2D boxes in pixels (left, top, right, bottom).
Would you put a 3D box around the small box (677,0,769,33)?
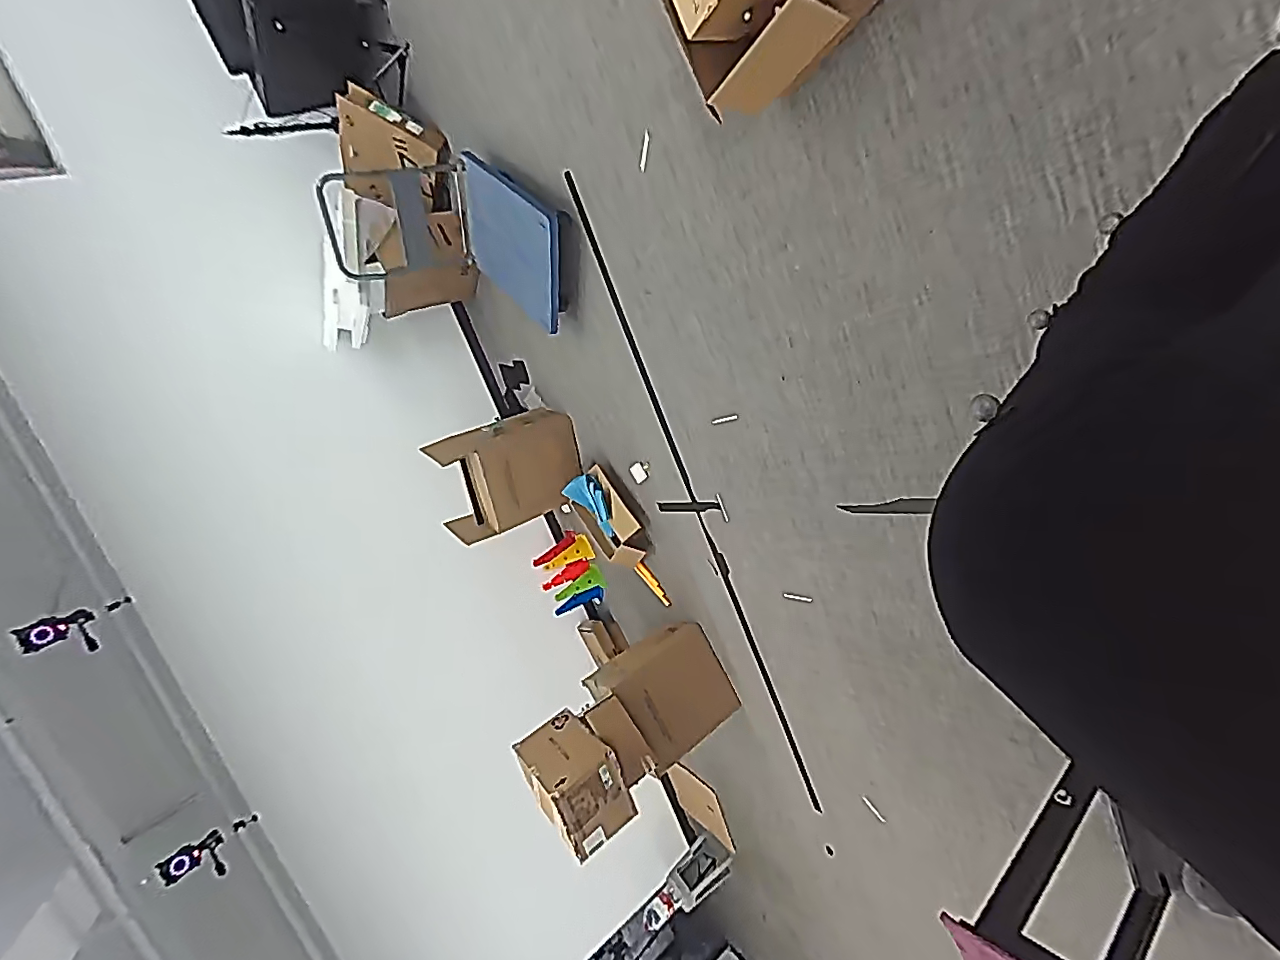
[{"bbox_3d":[0.183,-1.111,1.166,0.168,0.176,0.179,-10,106,61],"label":"small box"}]
